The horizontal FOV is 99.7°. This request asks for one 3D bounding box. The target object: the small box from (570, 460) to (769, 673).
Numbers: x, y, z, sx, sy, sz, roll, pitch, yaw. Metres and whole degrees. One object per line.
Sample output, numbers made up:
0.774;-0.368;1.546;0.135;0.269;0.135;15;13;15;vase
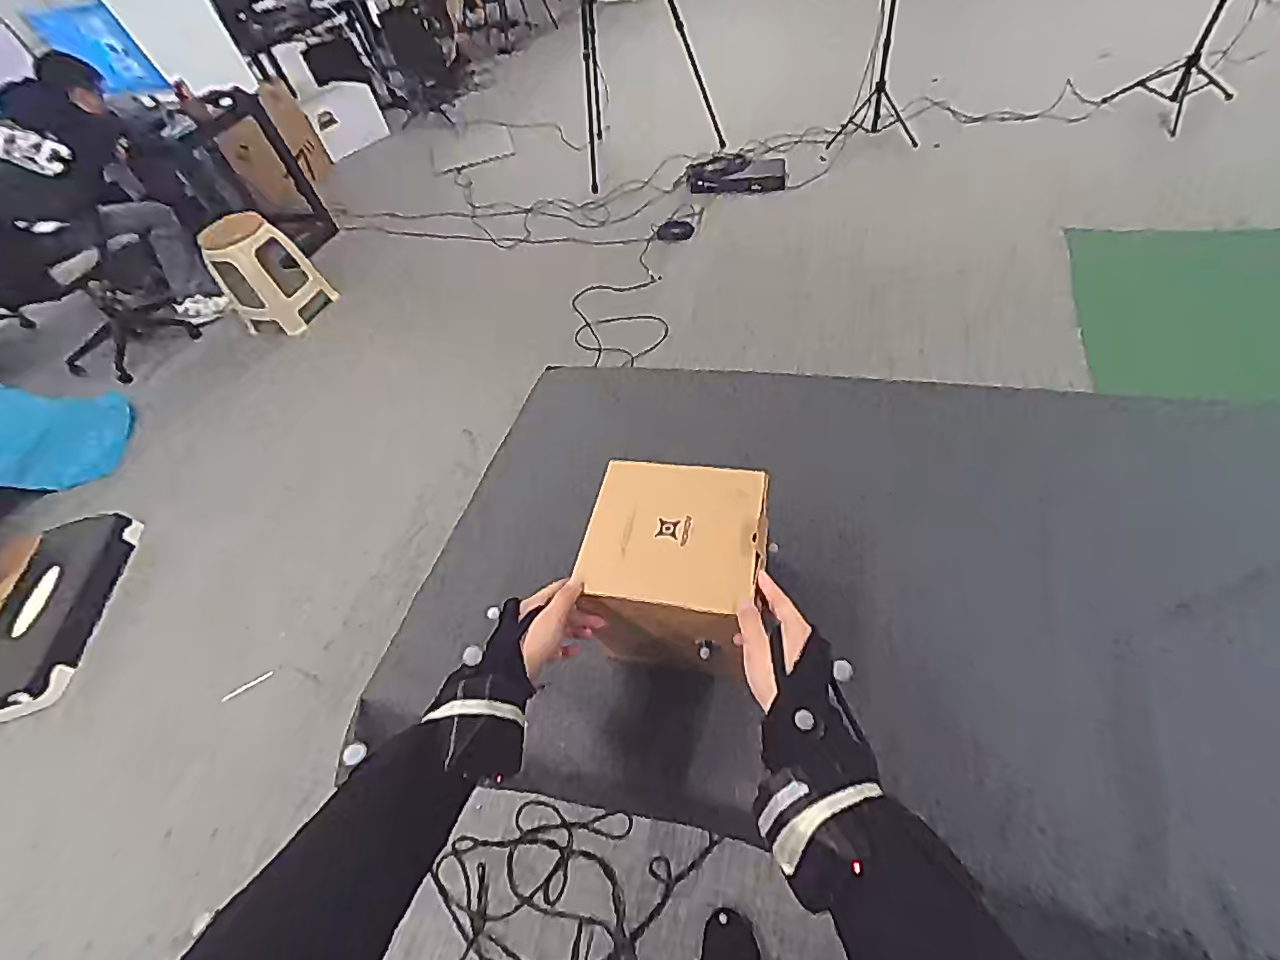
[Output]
0.047;0.098;0.600;0.179;0.176;0.168;3;51;16;small box
